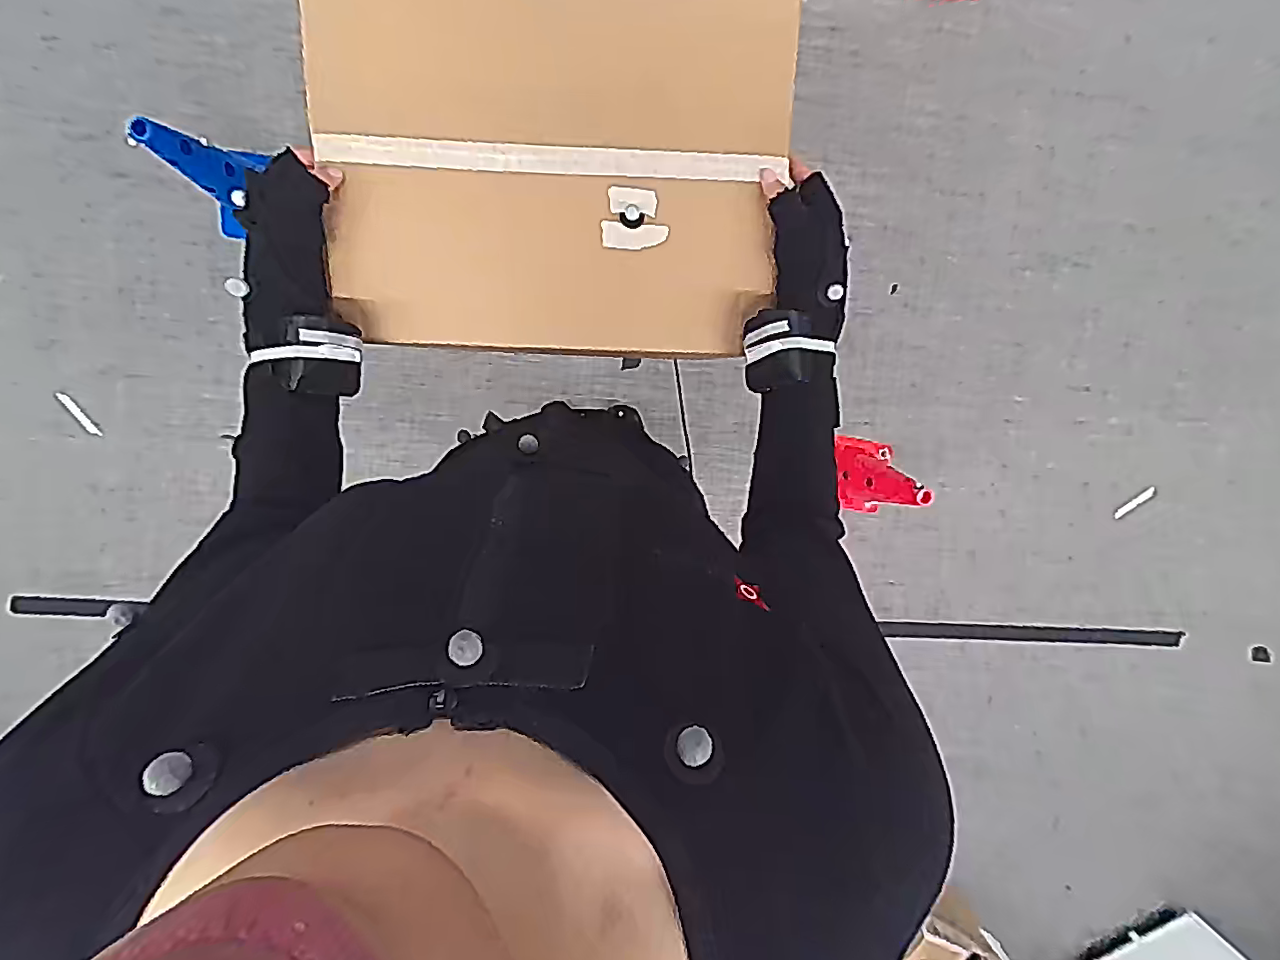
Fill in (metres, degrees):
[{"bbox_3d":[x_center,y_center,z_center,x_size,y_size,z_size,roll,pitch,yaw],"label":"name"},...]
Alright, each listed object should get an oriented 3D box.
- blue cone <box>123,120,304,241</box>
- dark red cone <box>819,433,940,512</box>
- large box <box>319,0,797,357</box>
[{"bbox_3d":[-0.916,-0.663,1.162,0.192,0.380,0.193,7,99,-3],"label":"blue cone"},{"bbox_3d":[0.605,0.010,1.319,0.201,0.394,0.202,9,99,-4],"label":"dark red cone"},{"bbox_3d":[-0.077,-0.306,0.619,0.408,0.320,0.320,1,102,-4],"label":"large box"}]
